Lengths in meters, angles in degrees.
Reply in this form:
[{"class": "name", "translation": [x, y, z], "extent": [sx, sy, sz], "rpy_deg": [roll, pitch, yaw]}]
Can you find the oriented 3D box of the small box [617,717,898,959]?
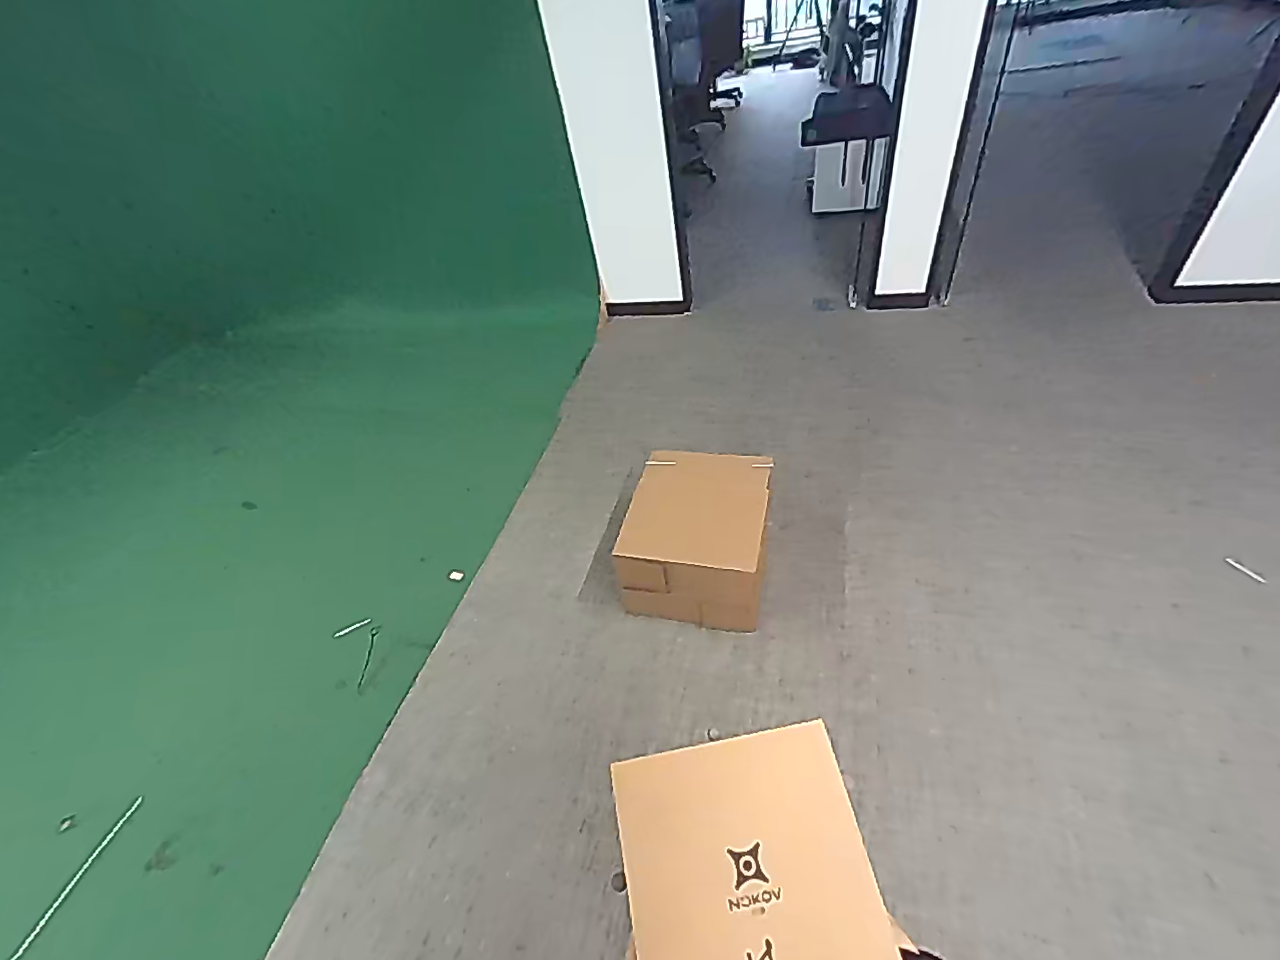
[{"class": "small box", "translation": [0.079, 0.309, 0.439], "extent": [0.168, 0.176, 0.179], "rpy_deg": [-11, 61, -2]}]
